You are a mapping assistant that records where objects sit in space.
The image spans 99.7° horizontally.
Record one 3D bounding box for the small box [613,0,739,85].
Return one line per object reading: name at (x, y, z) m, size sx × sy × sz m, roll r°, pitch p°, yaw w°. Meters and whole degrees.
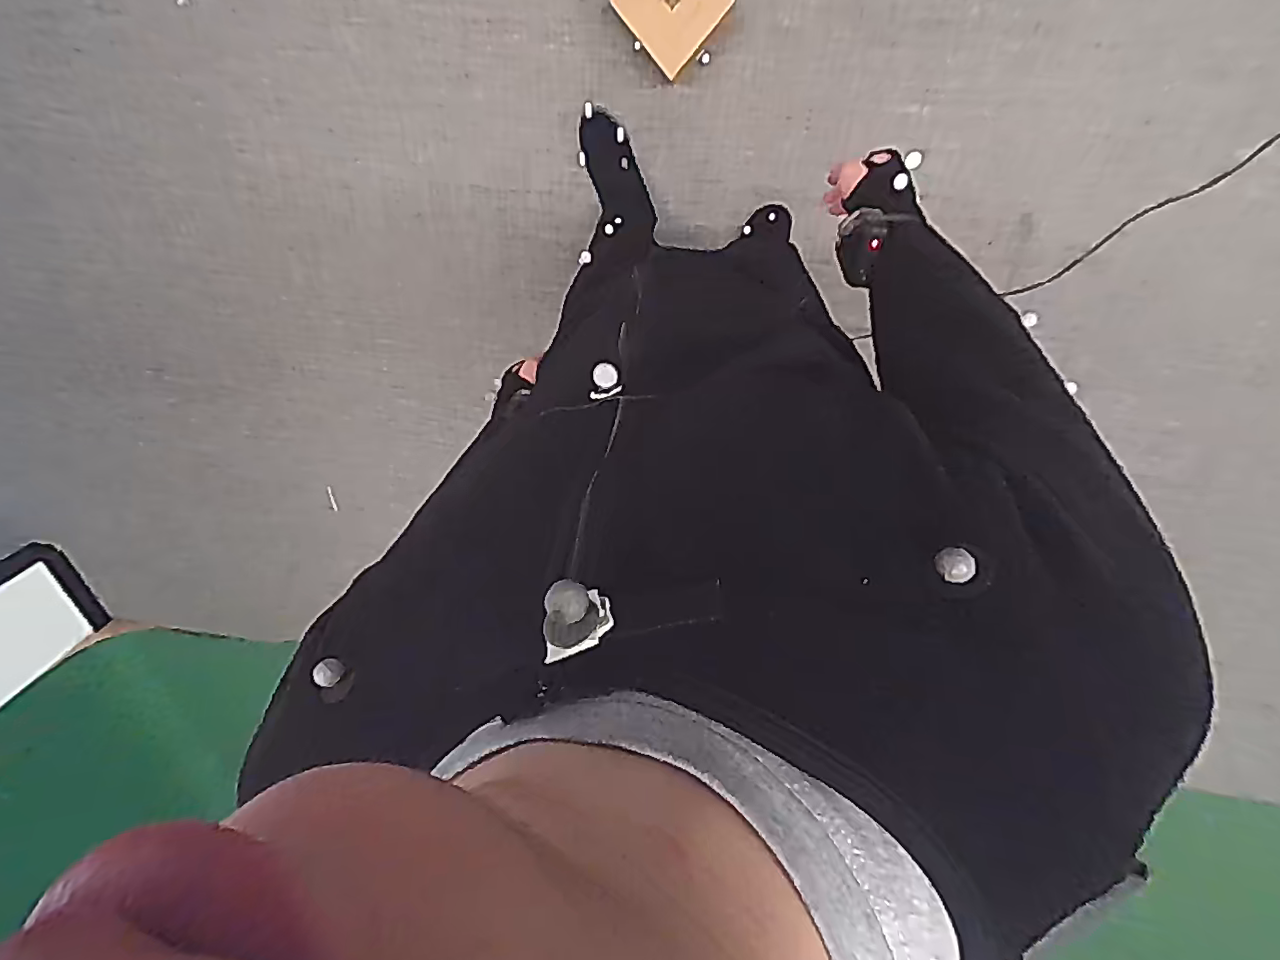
small box at (0.076, -0.911, 1.058) m, size 0.179 × 0.176 × 0.168 m, roll 42°, pitch 121°, yaw -17°
